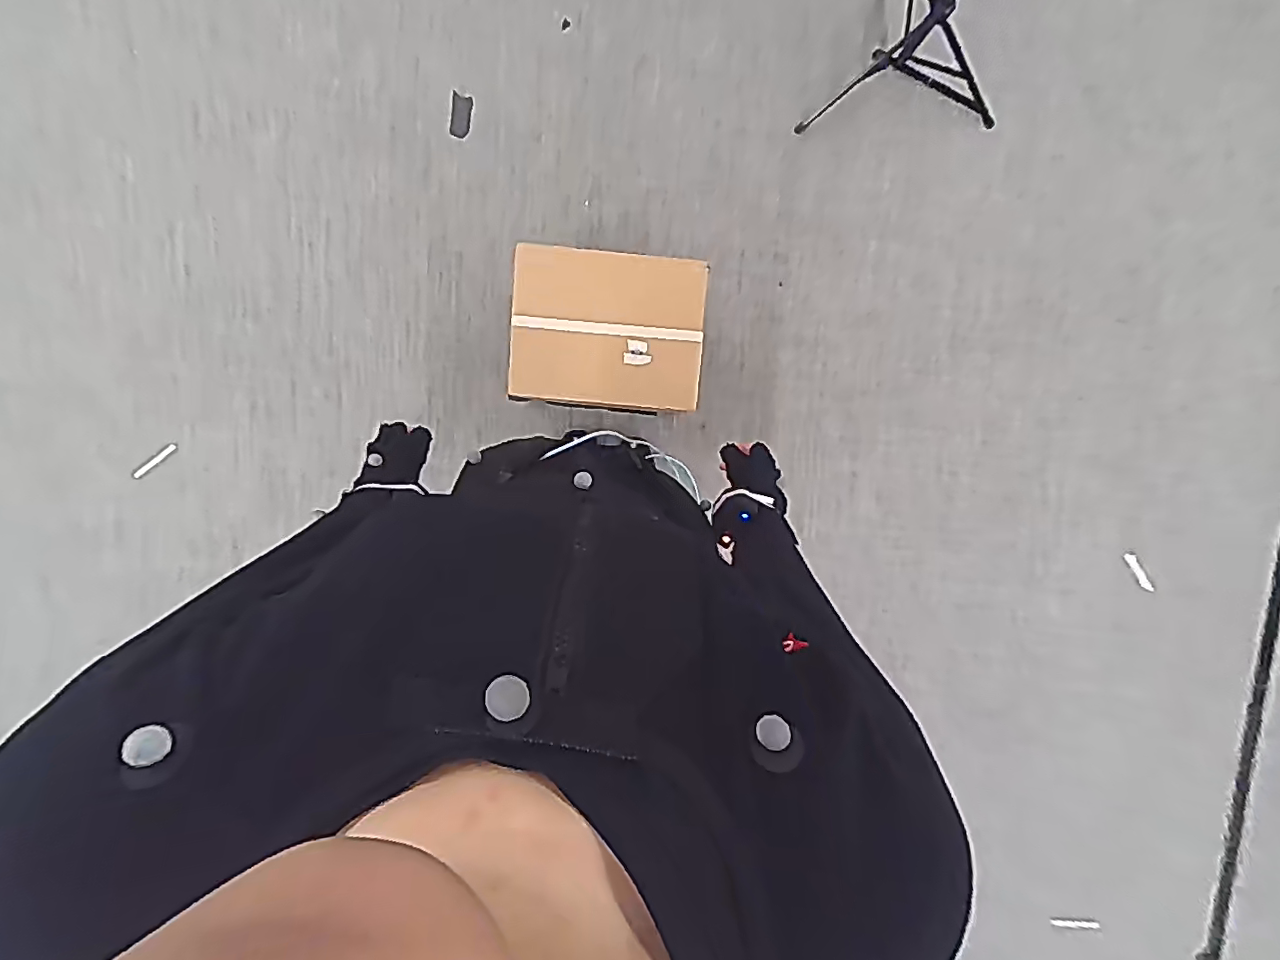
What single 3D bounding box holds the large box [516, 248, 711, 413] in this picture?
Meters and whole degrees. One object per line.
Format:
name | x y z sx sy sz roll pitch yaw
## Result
large box | -0.065 -0.332 1.294 0.408 0.320 0.320 5 96 -3
